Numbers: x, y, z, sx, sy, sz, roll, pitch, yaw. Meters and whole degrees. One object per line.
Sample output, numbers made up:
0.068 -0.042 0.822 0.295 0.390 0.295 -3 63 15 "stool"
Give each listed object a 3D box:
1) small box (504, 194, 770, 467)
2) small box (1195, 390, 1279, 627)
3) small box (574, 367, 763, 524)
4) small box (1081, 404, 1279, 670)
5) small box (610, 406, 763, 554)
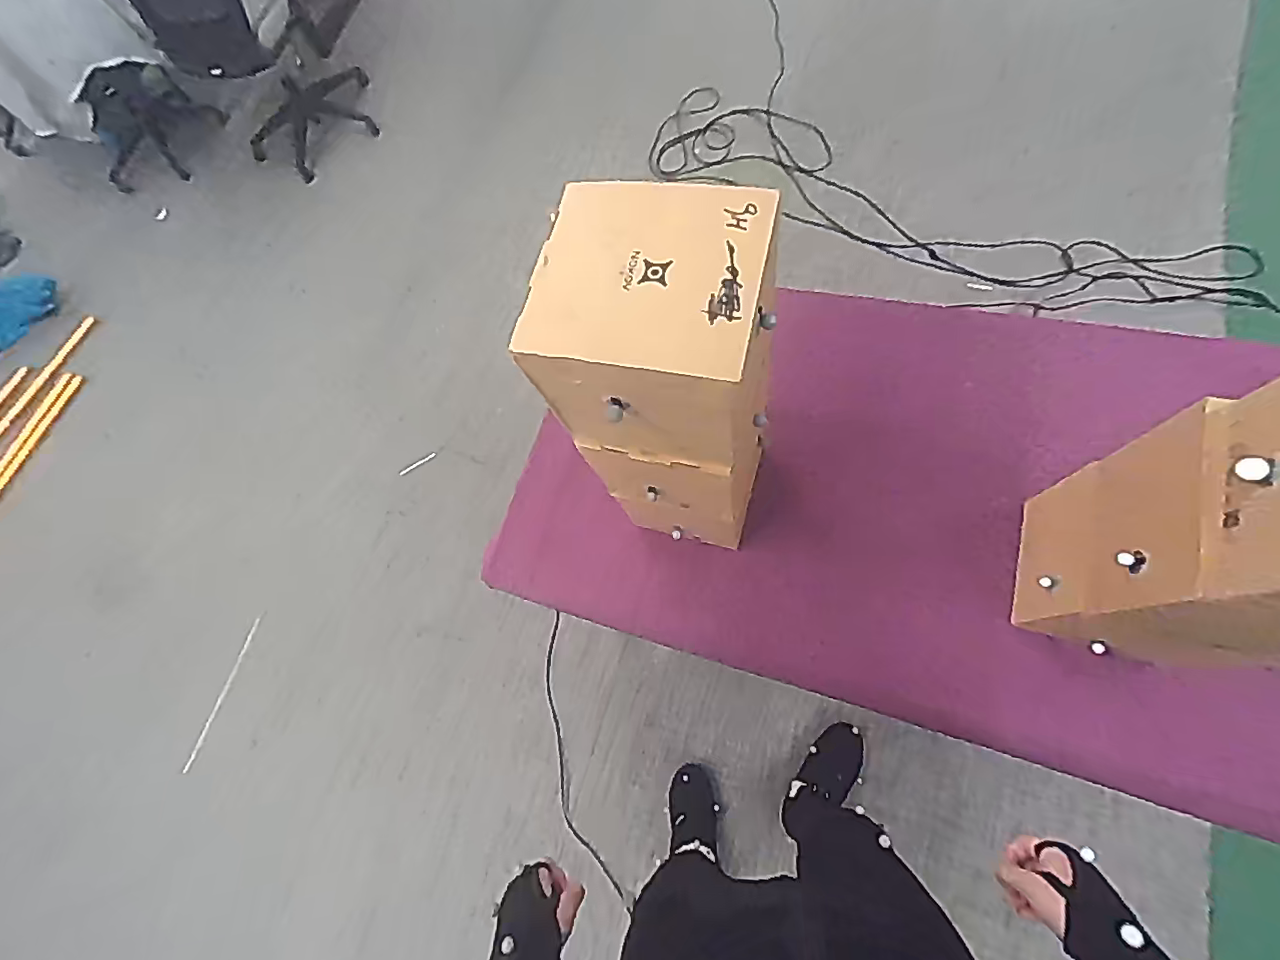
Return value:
0.014 -0.123 0.482 0.179 0.176 0.168 10 73 16 "small box"
0.502 0.016 0.321 0.179 0.176 0.168 15 74 18 "small box"
0.044 -0.066 0.632 0.168 0.176 0.179 12 73 16 "small box"
0.530 0.059 0.477 0.168 0.176 0.179 13 74 16 "small box"
0.076 -0.009 0.781 0.168 0.176 0.179 13 73 17 "small box"
